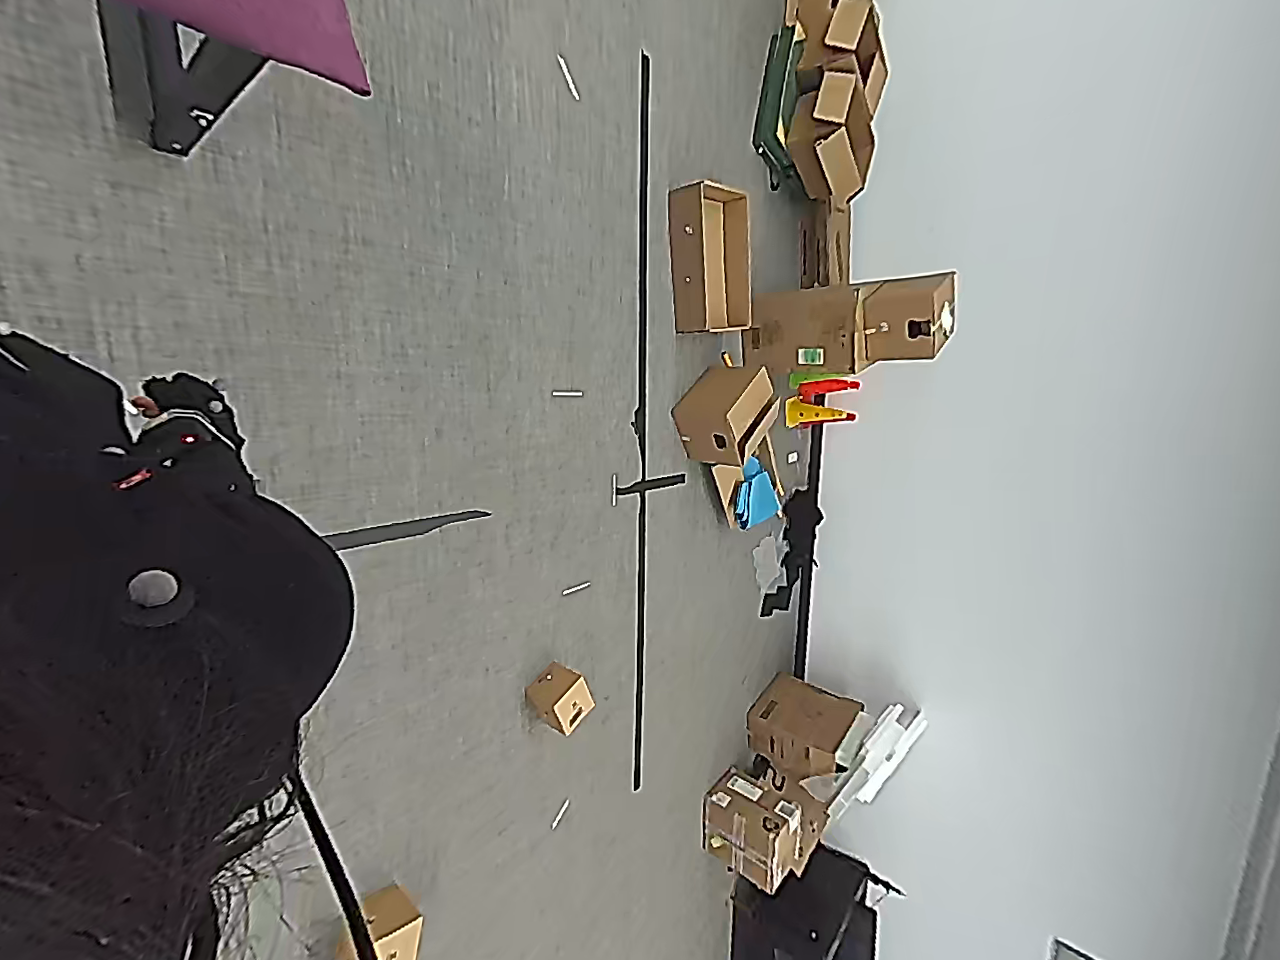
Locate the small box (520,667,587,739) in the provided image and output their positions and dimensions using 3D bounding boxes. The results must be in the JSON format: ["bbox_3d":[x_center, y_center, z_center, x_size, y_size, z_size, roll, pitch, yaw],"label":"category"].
[{"bbox_3d":[-0.339,0.866,2.119,0.168,0.176,0.179,-39,125,-40],"label":"small box"}]

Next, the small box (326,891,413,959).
[{"bbox_3d":[-0.824,1.409,1.637,0.179,0.176,0.168,9,92,-52],"label":"small box"}]
